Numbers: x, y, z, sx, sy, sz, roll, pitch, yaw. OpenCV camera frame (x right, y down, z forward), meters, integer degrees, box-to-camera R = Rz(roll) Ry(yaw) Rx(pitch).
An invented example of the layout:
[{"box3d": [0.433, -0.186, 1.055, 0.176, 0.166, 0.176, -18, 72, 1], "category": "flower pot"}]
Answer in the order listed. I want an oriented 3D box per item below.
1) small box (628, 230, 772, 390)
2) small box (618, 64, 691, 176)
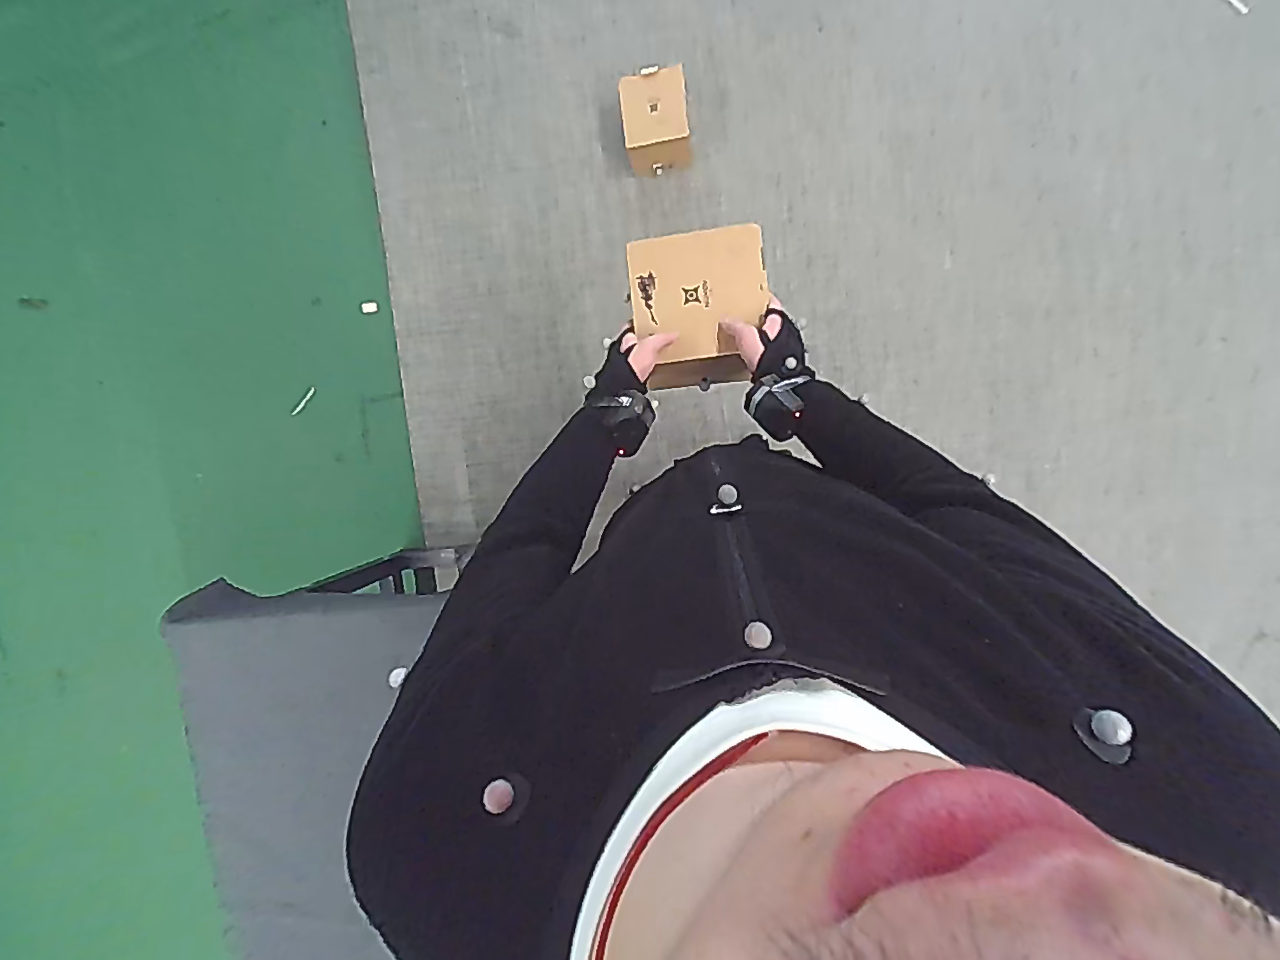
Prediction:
[{"box3d": [0.082, -0.231, 0.775, 0.179, 0.176, 0.168, -5, 87, 4], "category": "small box"}, {"box3d": [0.042, -0.938, 1.422, 0.168, 0.176, 0.179, -4, 94, 10], "category": "small box"}]
